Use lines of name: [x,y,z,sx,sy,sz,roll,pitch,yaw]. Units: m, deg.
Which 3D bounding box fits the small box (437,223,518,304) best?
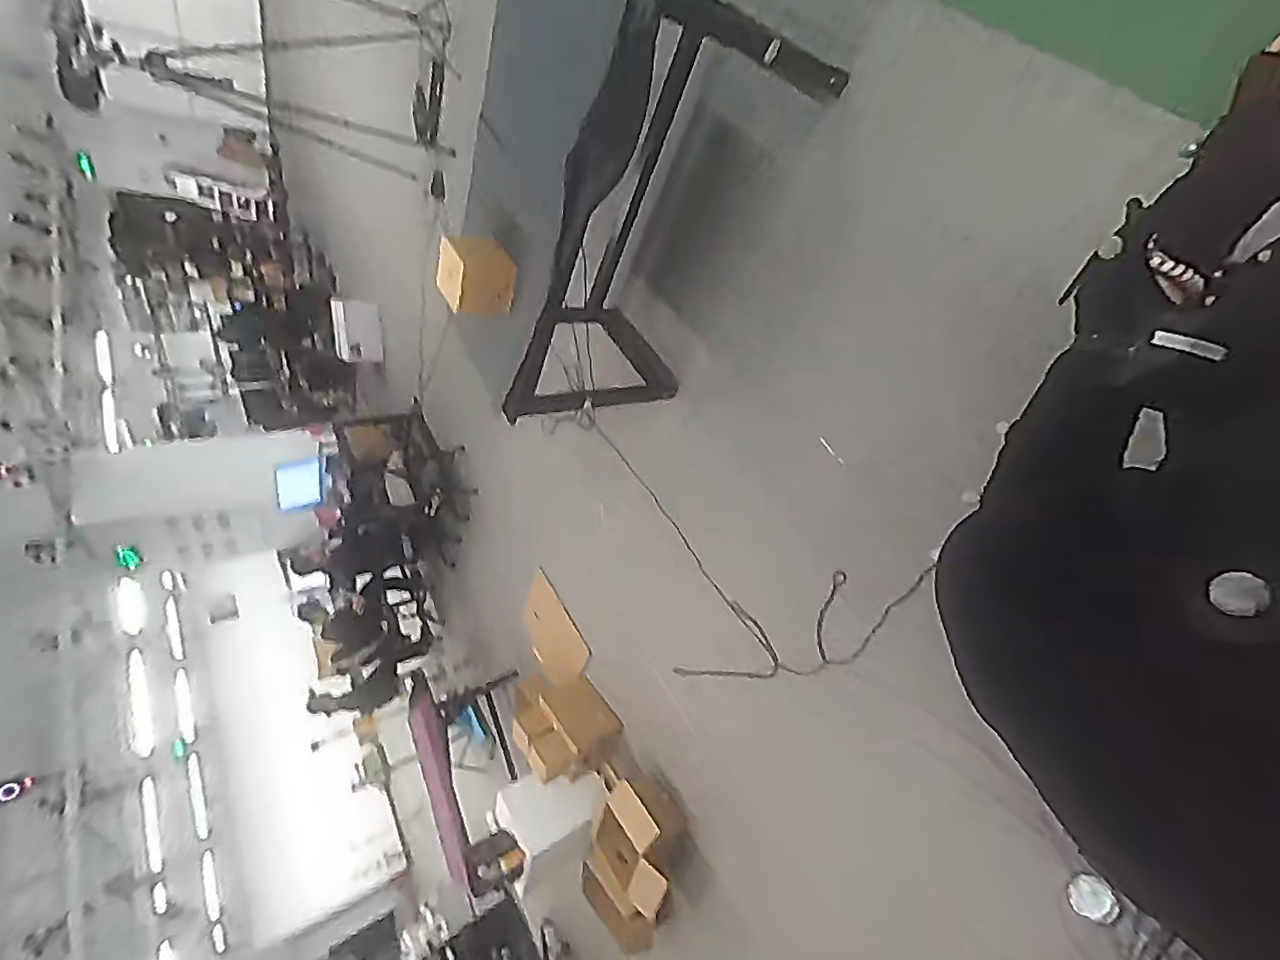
small box: [-0.490,-0.642,1.626,0.179,0.176,0.168,53,136,27]
